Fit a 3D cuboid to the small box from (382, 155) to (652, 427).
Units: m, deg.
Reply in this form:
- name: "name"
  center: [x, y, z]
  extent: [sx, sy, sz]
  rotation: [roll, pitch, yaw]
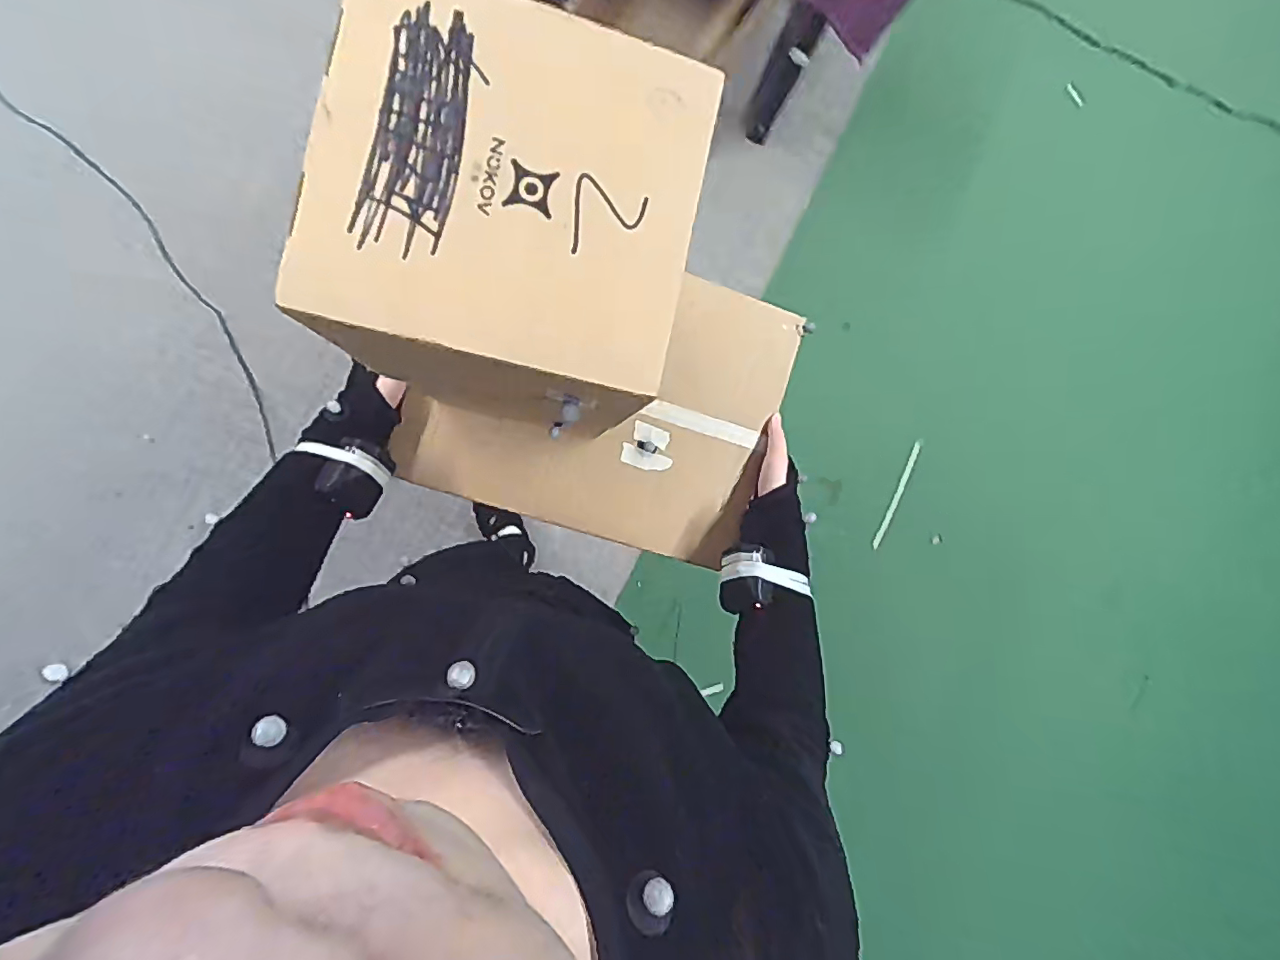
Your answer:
- name: "small box"
  center: [-0.103, -0.147, 0.493]
  extent: [0.179, 0.176, 0.168]
  rotation: [13, 89, -9]

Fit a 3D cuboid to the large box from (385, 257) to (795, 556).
- name: "large box"
  center: [-0.069, -0.112, 0.748]
  extent: [0.408, 0.320, 0.320]
  rotation: [16, 90, -10]
